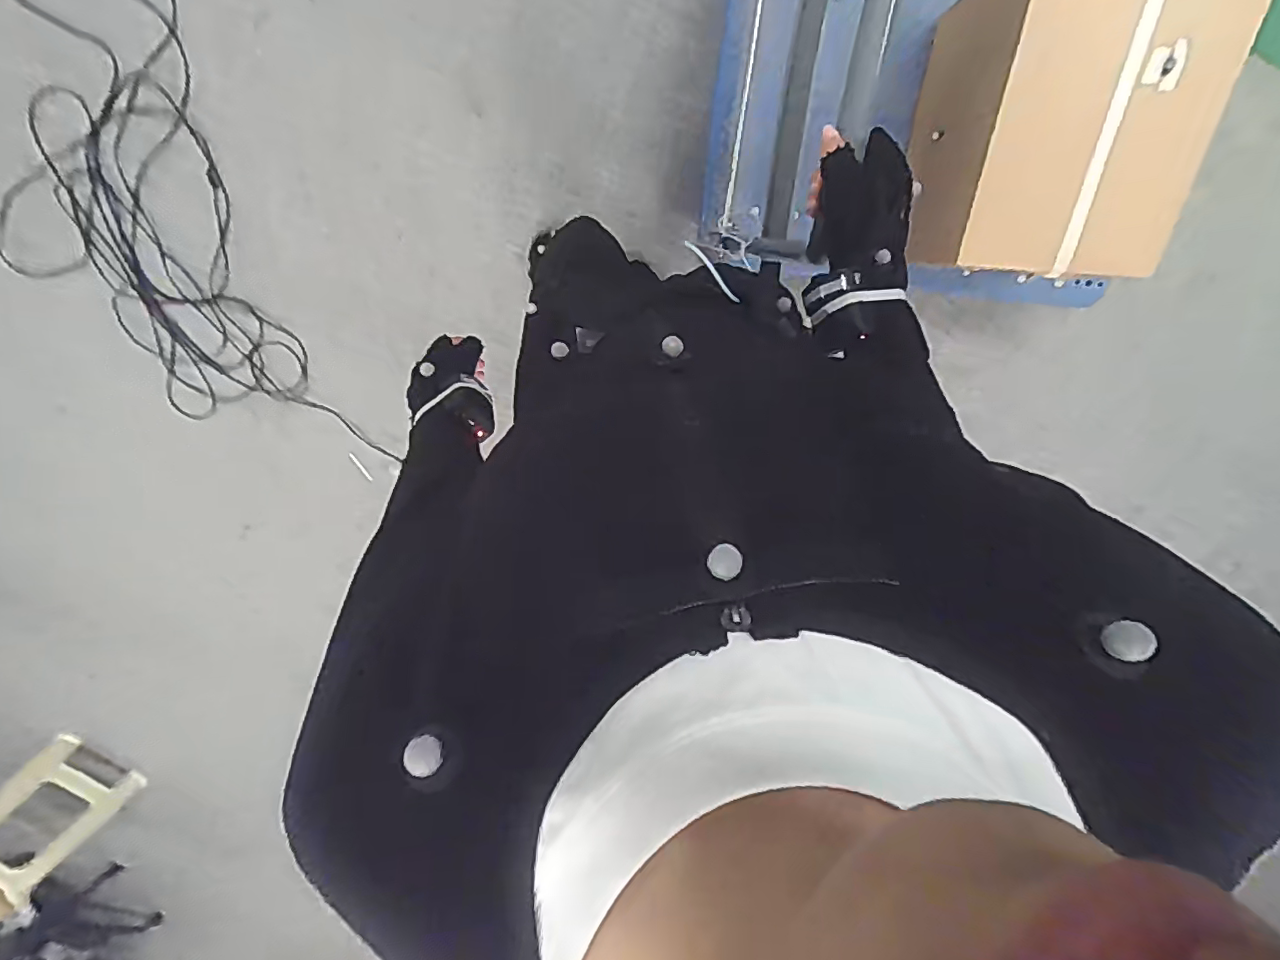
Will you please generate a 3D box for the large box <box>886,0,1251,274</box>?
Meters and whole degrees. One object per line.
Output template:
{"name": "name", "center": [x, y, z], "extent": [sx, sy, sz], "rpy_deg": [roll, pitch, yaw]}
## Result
{"name": "large box", "center": [0.664, -0.571, 0.918], "extent": [0.320, 0.320, 0.408], "rpy_deg": [4, 112, -1]}
